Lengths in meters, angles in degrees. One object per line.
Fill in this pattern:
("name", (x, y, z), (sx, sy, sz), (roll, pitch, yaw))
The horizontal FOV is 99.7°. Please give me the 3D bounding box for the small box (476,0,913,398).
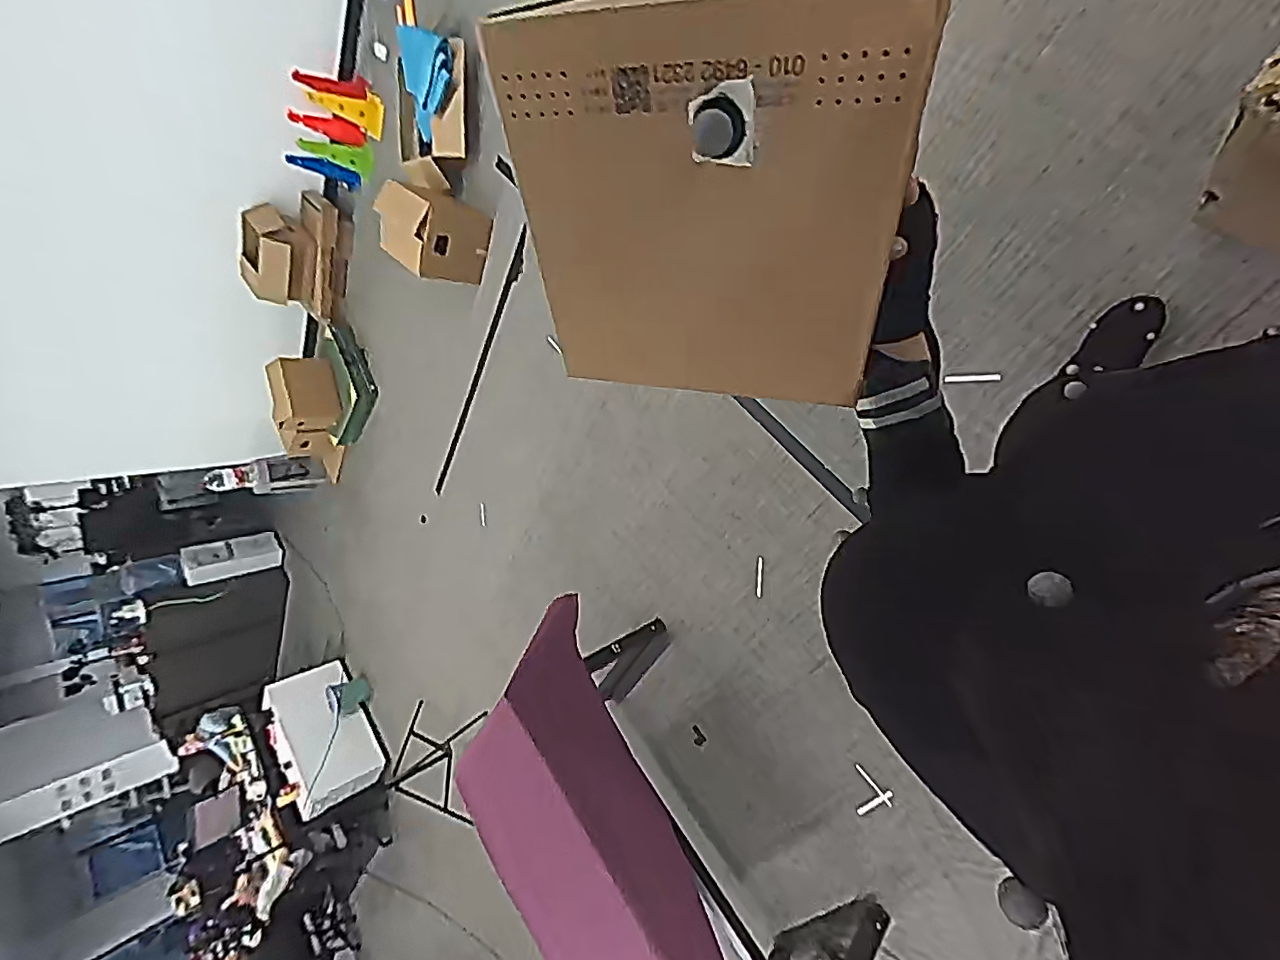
("small box", (0.044, -0.171, 0.294), (0.168, 0.179, 0.176), (9, 140, 19))
